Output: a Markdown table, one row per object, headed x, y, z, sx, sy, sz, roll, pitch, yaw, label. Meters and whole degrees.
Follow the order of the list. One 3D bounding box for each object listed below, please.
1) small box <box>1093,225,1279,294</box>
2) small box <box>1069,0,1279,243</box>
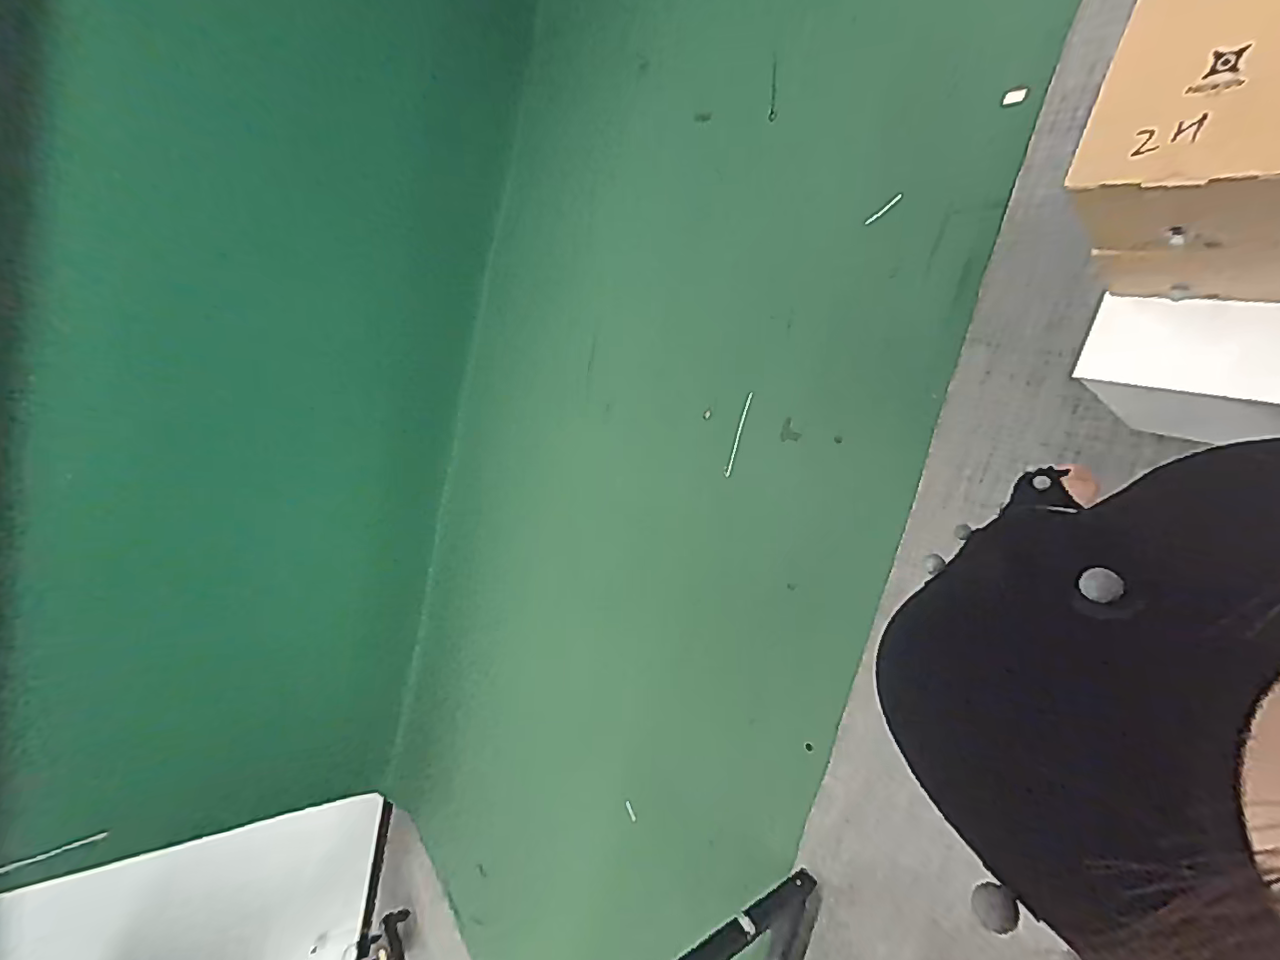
| x | y | z | sx | sy | sz | roll | pitch | yaw | label |
| --- | --- | --- | --- | --- | --- | --- | --- | --- | --- |
| 0.667 | -0.331 | 0.622 | 0.168 | 0.176 | 0.179 | 26 | 106 | 46 | small box |
| 0.549 | -0.344 | 0.508 | 0.168 | 0.176 | 0.179 | 28 | 107 | 46 | small box |
